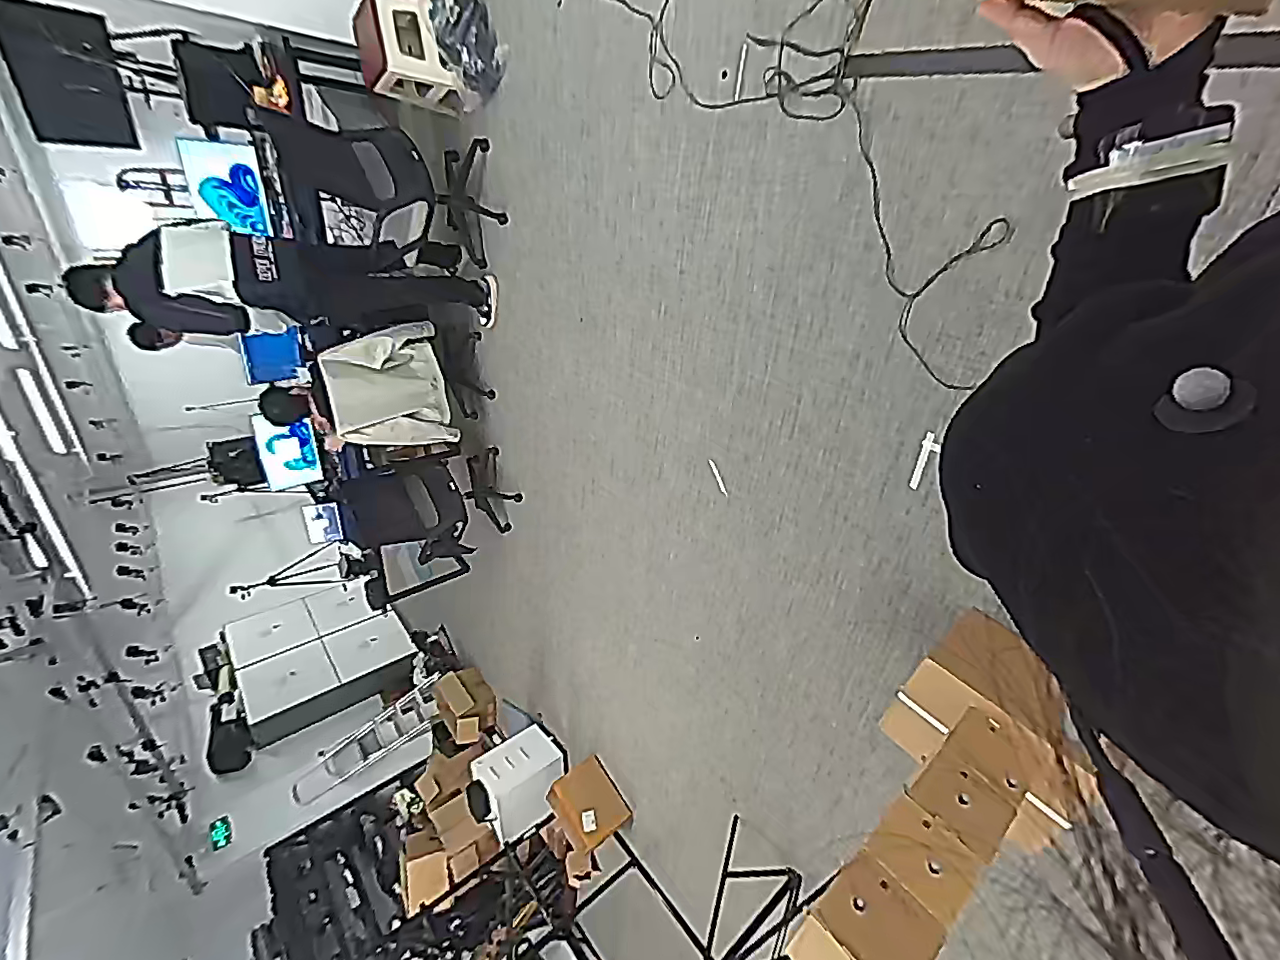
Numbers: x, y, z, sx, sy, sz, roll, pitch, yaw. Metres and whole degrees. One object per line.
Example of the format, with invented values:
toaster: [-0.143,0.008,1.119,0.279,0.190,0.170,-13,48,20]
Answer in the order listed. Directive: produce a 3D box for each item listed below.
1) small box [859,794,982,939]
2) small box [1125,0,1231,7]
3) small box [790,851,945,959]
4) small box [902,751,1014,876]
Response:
small box: [0.518,0.751,1.033,0.168,0.176,0.179,36,132,37]
small box: [0.236,-0.336,0.240,0.179,0.176,0.168,36,134,29]
small box: [0.395,0.799,0.938,0.168,0.176,0.179,36,133,38]
small box: [0.642,0.712,1.131,0.168,0.176,0.179,38,132,36]
